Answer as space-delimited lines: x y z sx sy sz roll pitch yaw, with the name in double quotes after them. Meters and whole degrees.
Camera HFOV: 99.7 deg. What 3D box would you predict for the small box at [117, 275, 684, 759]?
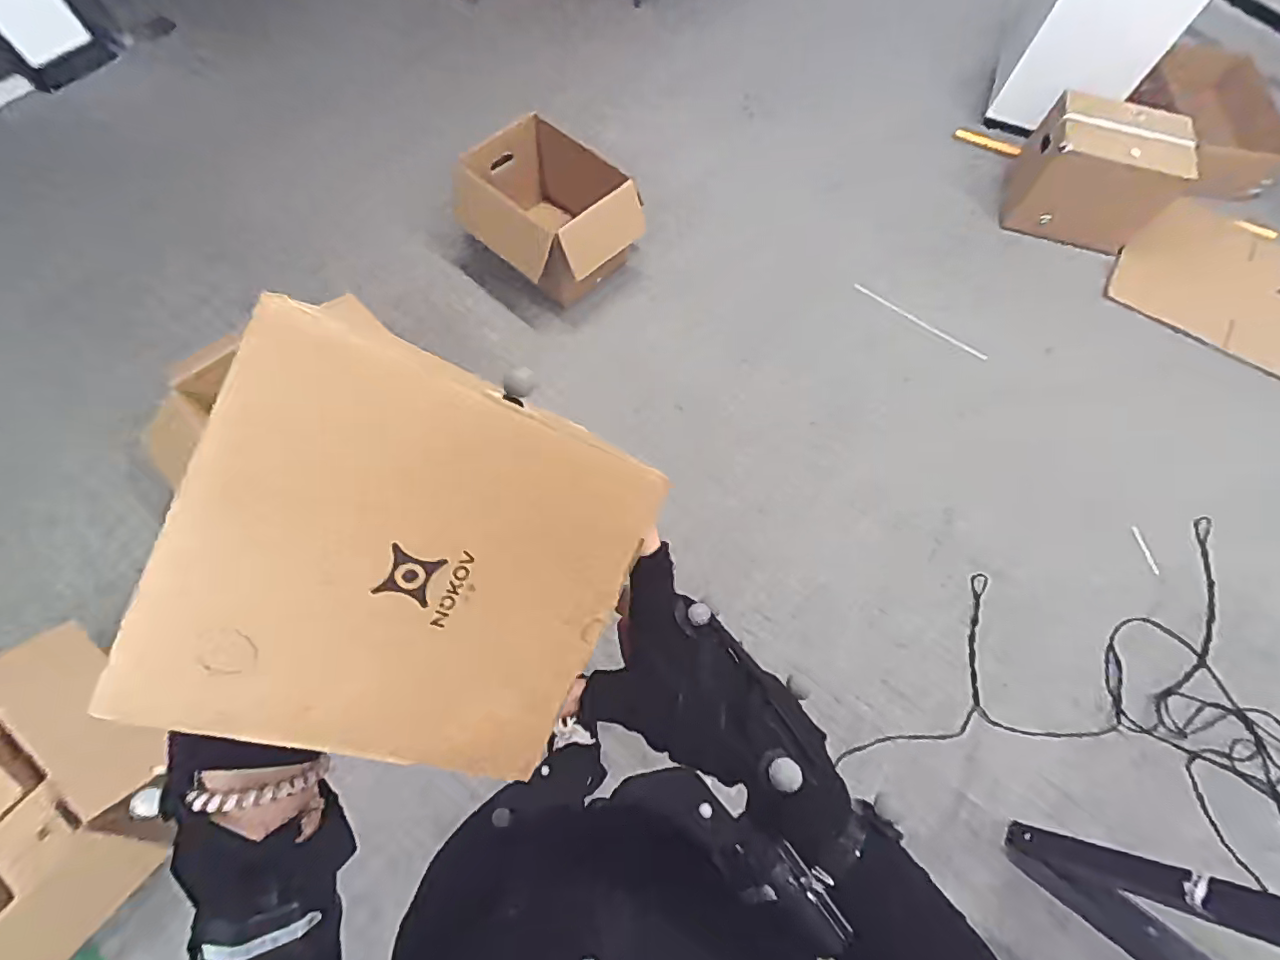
-0.113 0.014 0.299 0.179 0.176 0.168 24 94 -26 "small box"
